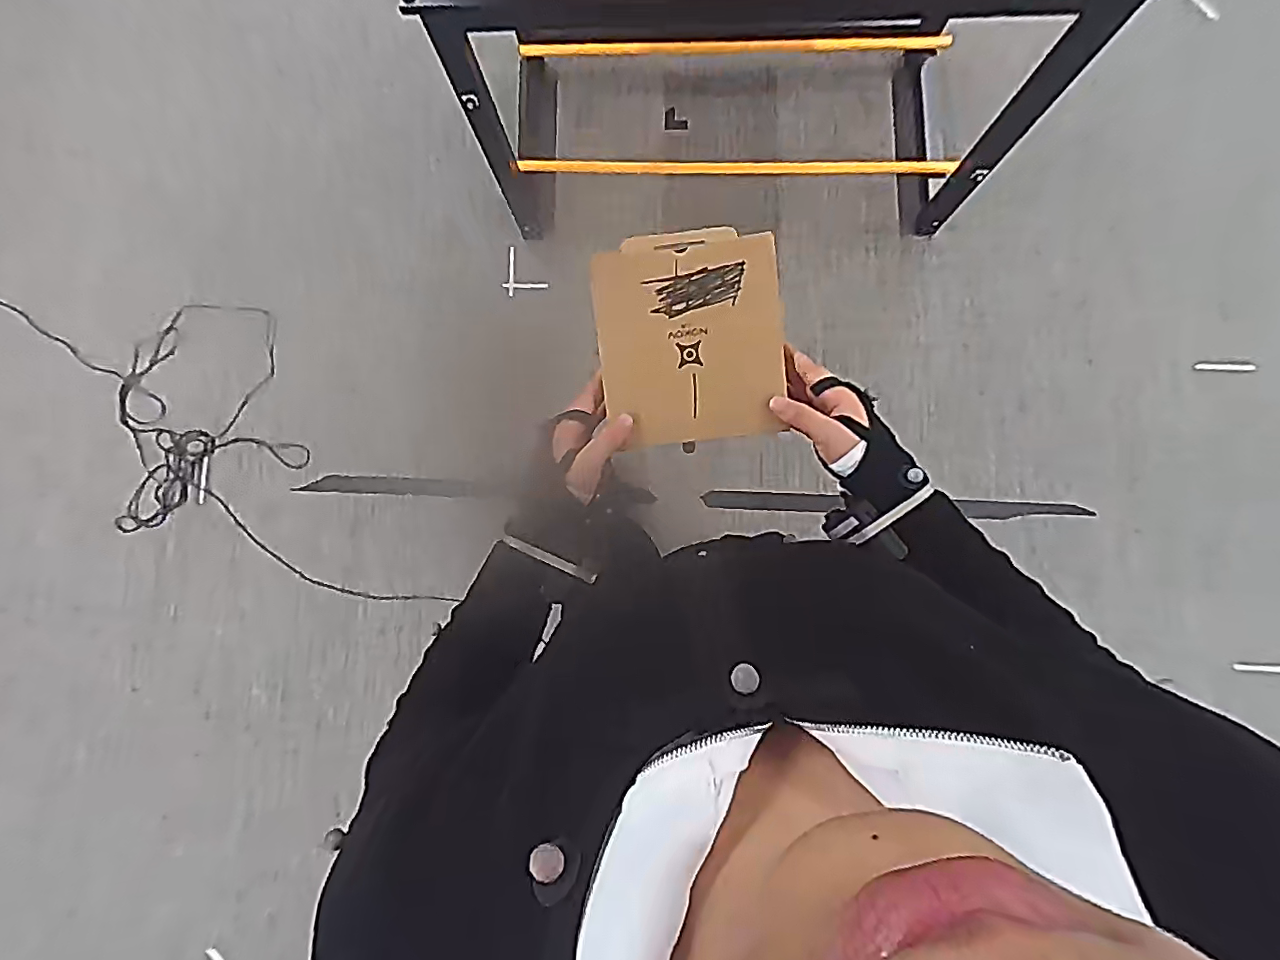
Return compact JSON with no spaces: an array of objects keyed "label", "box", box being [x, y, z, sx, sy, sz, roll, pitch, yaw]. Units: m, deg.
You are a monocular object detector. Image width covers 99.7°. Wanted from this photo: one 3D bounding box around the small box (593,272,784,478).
[{"label":"small box","box":[0.048,-0.103,0.578,0.168,0.176,0.179,-6,97,3]}]
